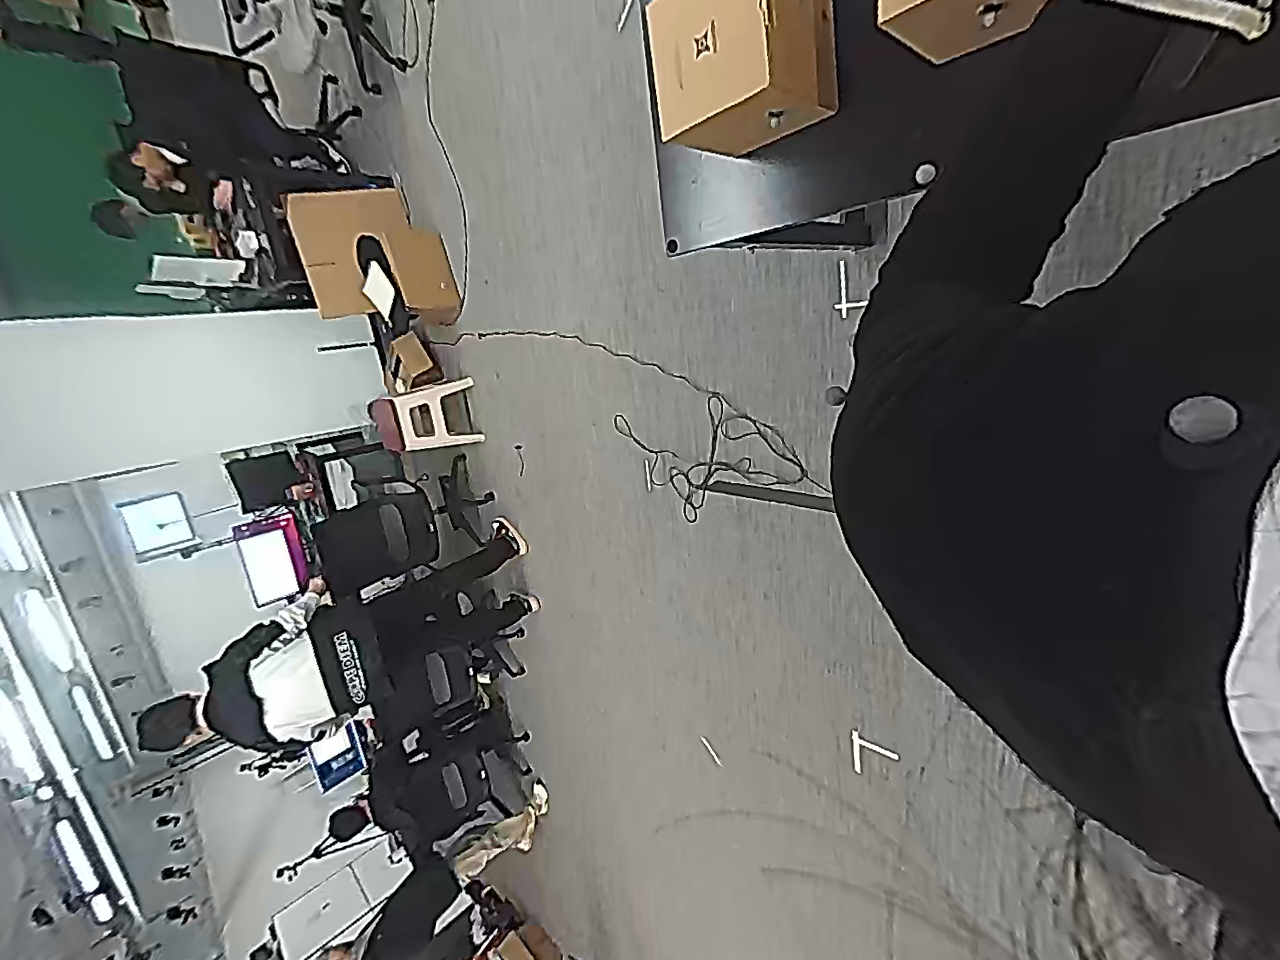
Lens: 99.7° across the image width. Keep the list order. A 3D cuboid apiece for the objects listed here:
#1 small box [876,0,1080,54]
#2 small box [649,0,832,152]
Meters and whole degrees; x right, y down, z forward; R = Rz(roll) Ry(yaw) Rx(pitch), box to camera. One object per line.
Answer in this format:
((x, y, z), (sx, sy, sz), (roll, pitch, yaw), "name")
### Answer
((0.341, -0.539, 0.500), (0.179, 0.176, 0.168), (10, 113, 46), "small box")
((0.139, -0.560, 0.715), (0.179, 0.176, 0.168), (5, 108, 47), "small box")
